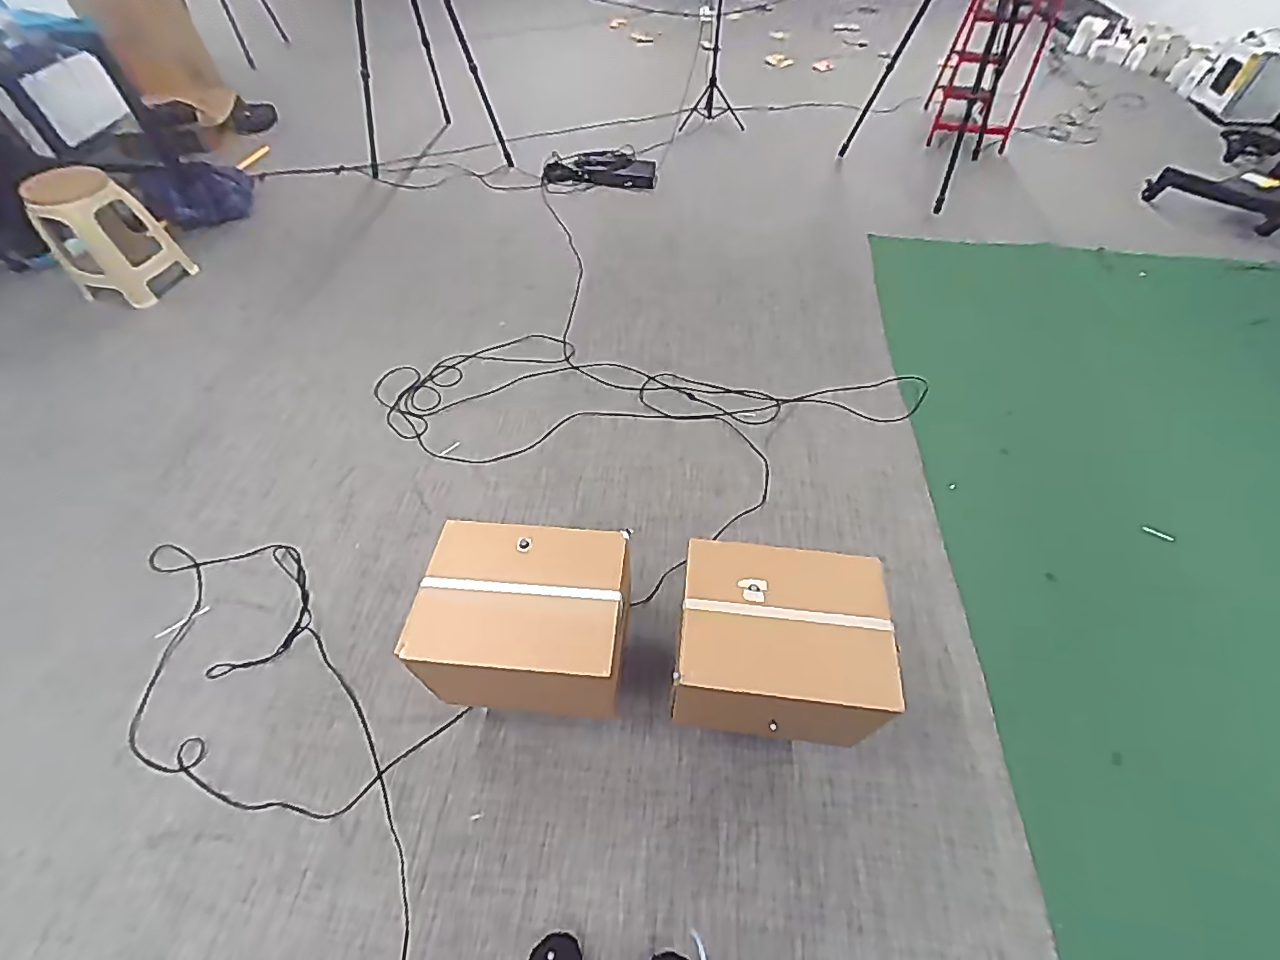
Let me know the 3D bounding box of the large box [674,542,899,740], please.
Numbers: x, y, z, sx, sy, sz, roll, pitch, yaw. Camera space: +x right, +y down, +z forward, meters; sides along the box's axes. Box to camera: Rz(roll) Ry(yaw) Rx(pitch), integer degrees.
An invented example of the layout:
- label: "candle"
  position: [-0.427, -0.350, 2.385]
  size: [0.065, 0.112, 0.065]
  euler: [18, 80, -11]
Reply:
- label: "large box"
  position: [0.292, 0.361, 1.194]
  size: [0.408, 0.320, 0.320]
  euler: [6, 53, 5]
